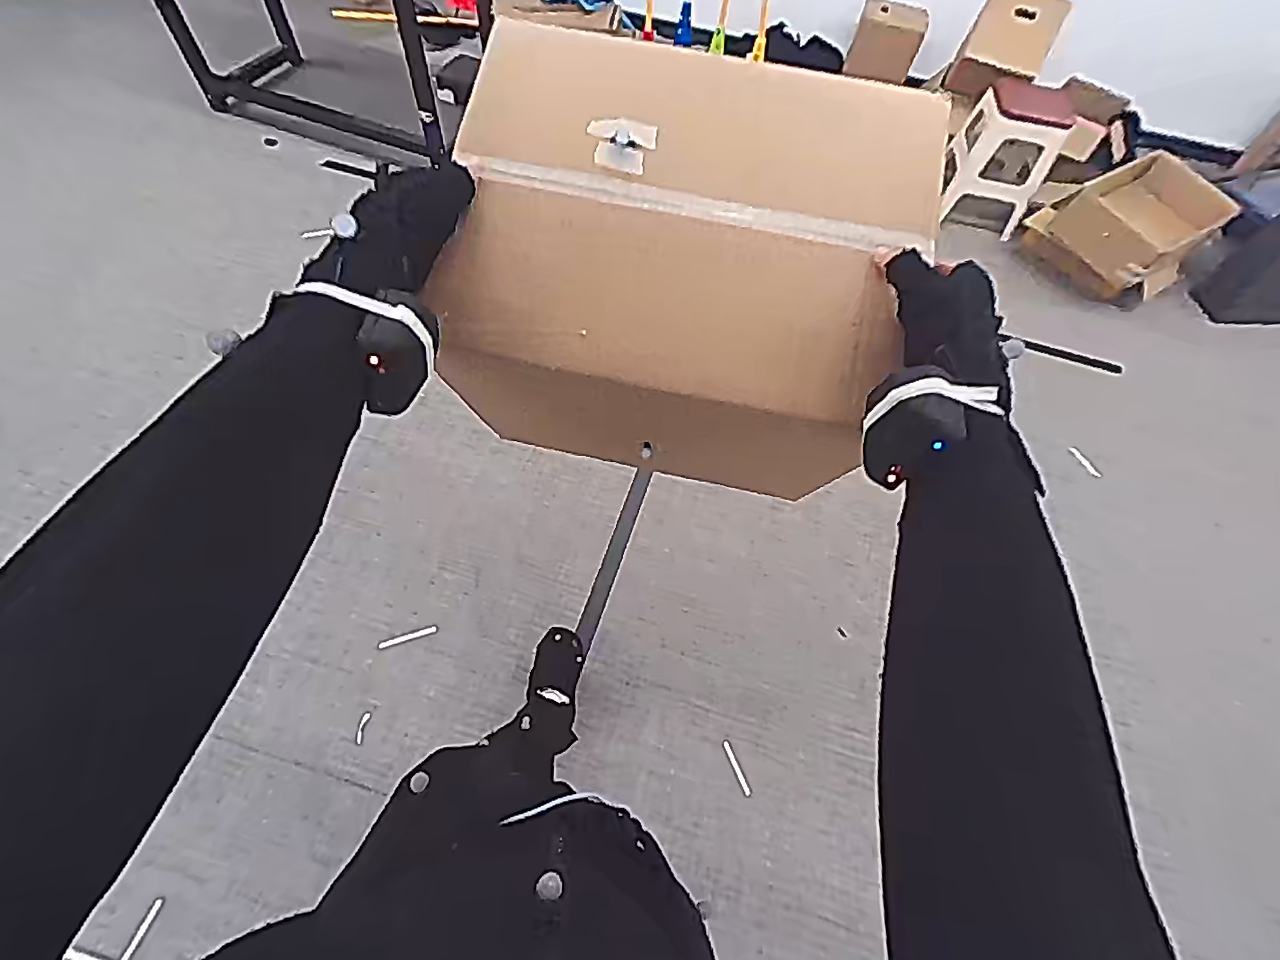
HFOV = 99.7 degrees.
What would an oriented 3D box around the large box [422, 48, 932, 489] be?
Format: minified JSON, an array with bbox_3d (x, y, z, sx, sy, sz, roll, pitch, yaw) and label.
[{"bbox_3d":[0.044,-0.192,0.612,0.408,0.320,0.320,12,79,3],"label":"large box"}]
